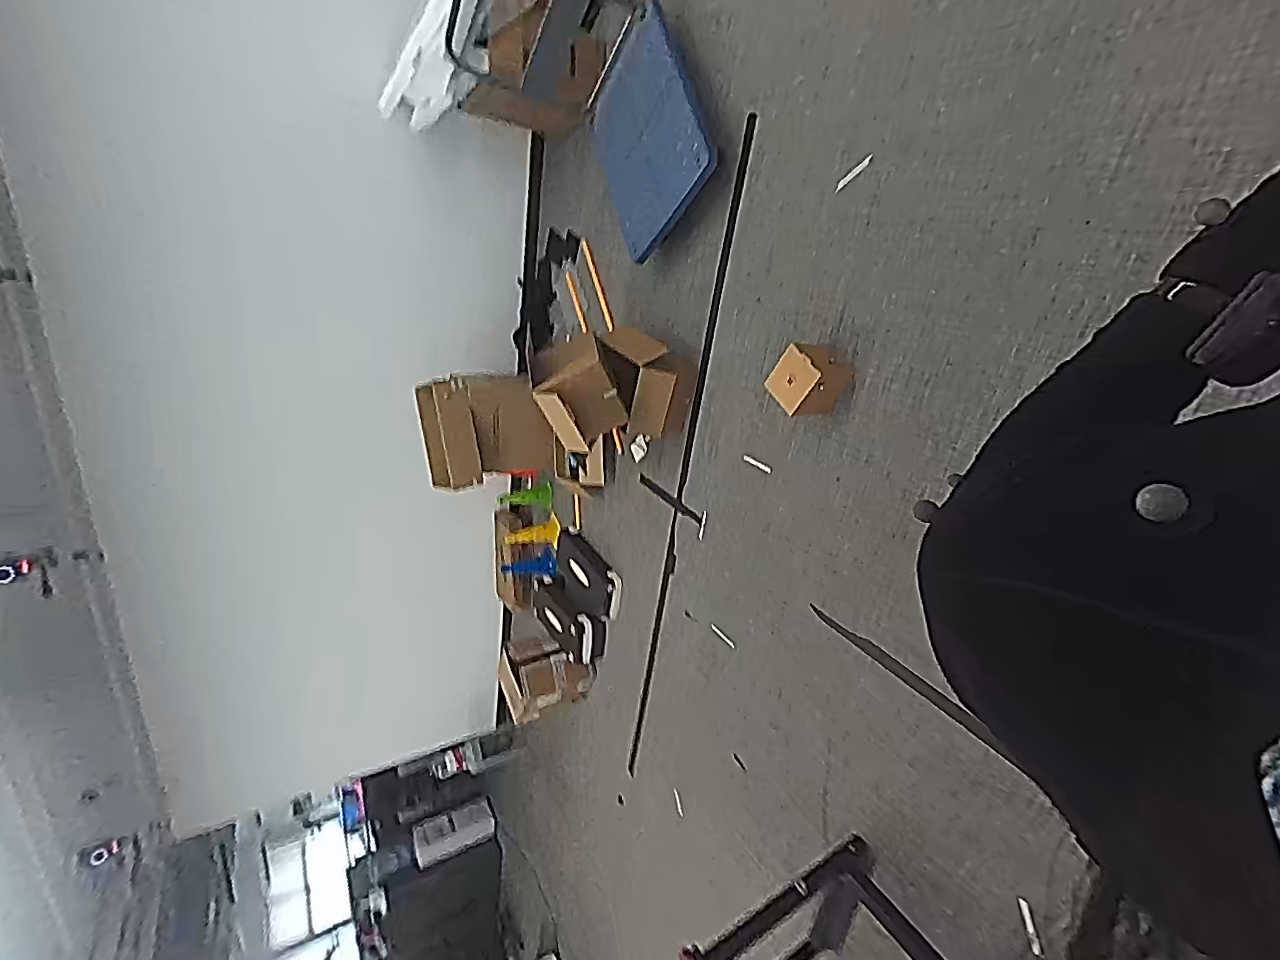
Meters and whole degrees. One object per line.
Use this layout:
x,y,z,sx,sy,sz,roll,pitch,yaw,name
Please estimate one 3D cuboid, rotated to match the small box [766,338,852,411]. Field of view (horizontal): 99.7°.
0.555,-0.343,1.778,0.168,0.176,0.179,61,140,31,small box
